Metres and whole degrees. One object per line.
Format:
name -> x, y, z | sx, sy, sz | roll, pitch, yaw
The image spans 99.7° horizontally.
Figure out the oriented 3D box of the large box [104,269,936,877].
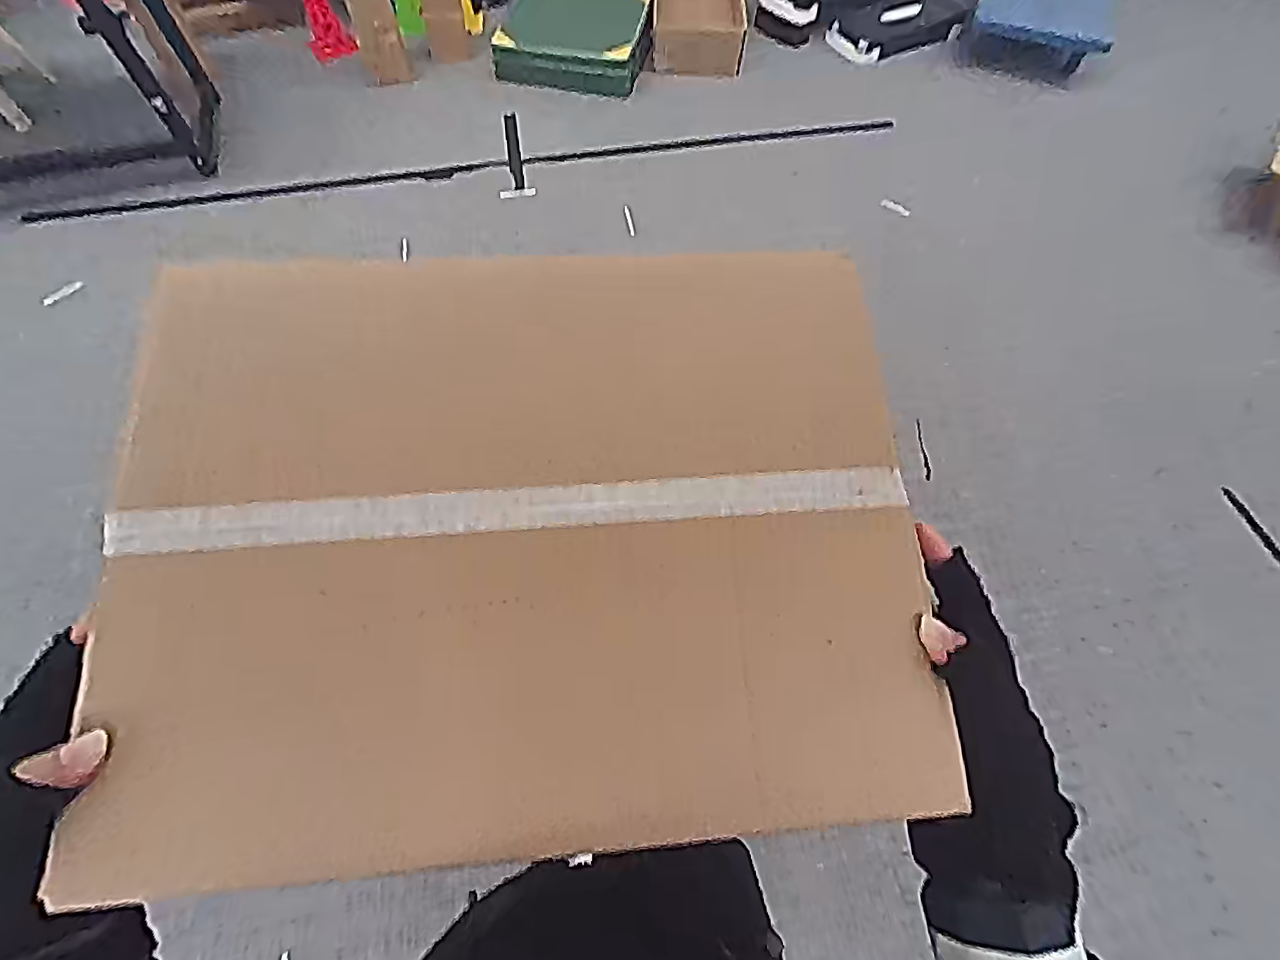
large box -> -0.067, 0.061, 0.441 | 0.408, 0.320, 0.320 | -3, 75, -5
